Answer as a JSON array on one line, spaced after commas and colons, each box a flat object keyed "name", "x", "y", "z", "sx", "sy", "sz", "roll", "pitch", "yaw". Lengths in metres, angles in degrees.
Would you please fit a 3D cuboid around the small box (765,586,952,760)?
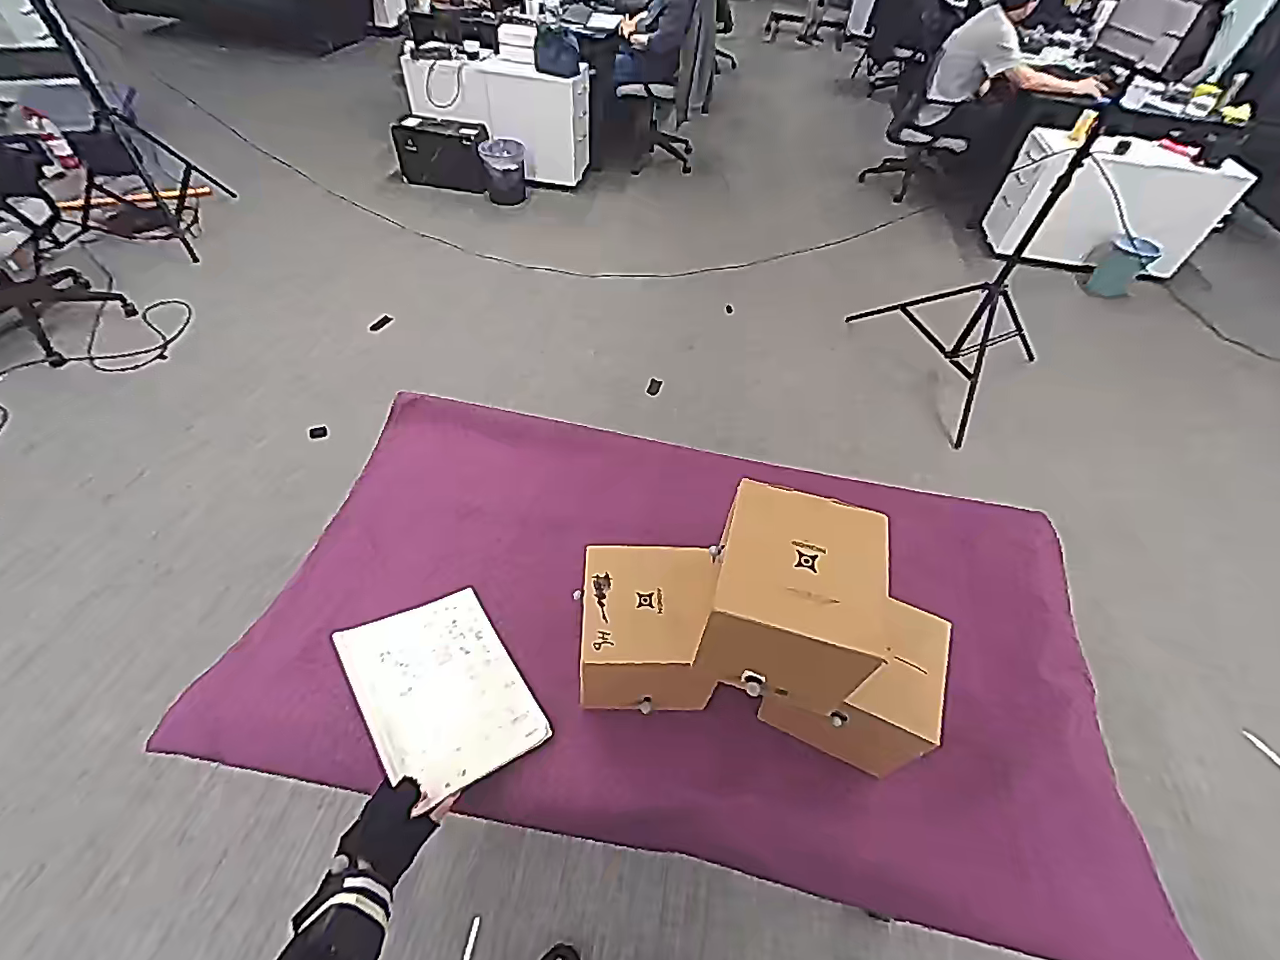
[{"name": "small box", "x": 0.284, "y": 0.246, "z": 0.726, "sx": 0.179, "sy": 0.176, "sz": 0.168, "roll": 22, "pitch": 52, "yaw": 14}]

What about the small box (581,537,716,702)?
[{"name": "small box", "x": 0.011, "y": 0.196, "z": 0.749, "sx": 0.179, "sy": 0.176, "sz": 0.168, "roll": 2, "pitch": 49, "yaw": -4}]

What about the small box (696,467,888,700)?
[{"name": "small box", "x": 0.166, "y": 0.119, "z": 0.613, "sx": 0.168, "sy": 0.176, "sz": 0.179, "roll": 14, "pitch": 50, "yaw": 9}]
